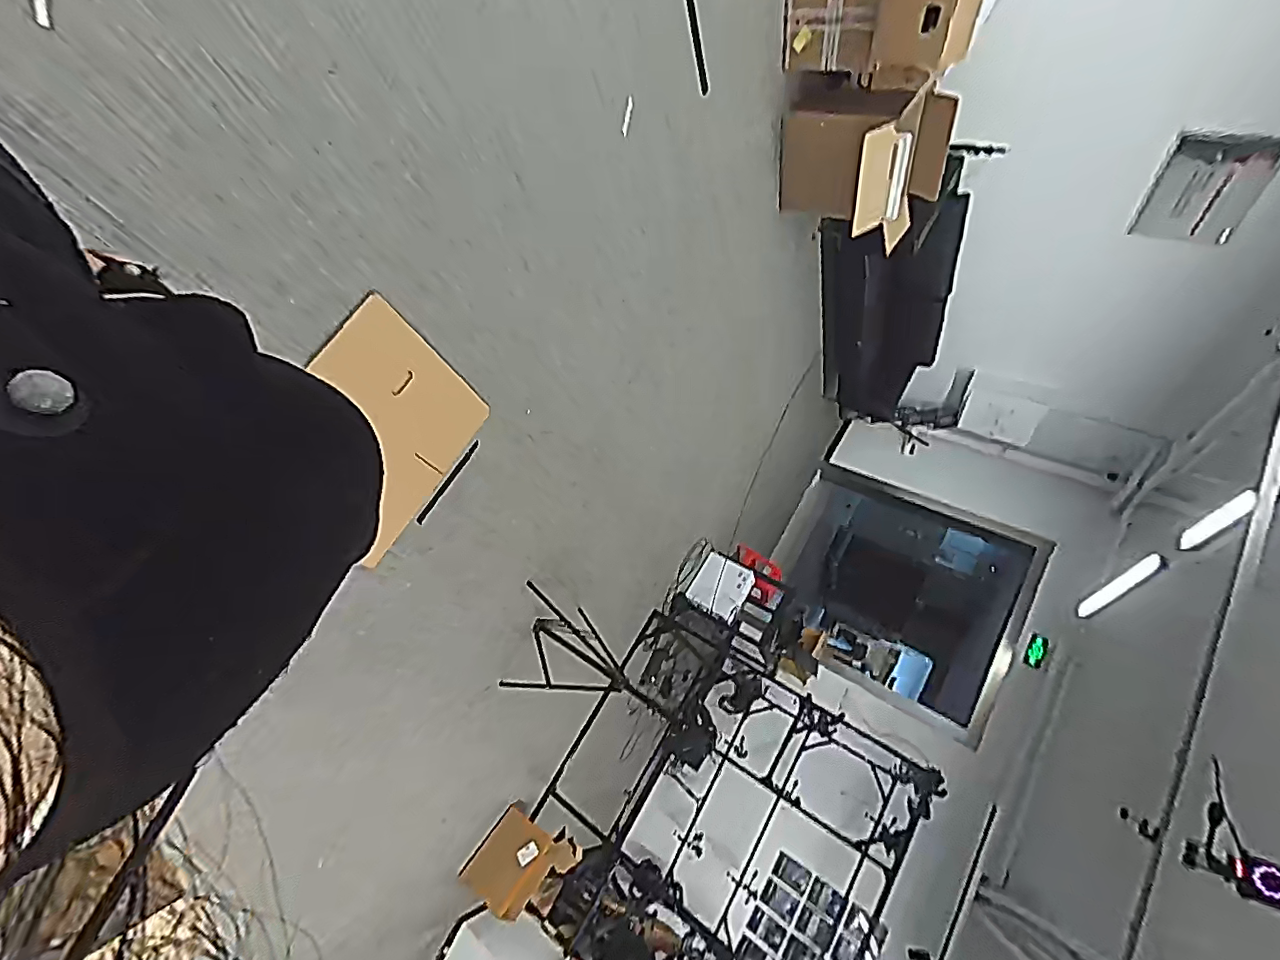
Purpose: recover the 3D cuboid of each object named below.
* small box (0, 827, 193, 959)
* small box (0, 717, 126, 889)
[{"bbox_3d":[-0.814,0.684,0.814,0.179,0.176,0.168,-15,124,-54],"label":"small box"},{"bbox_3d":[-1.077,0.568,0.975,0.179,0.176,0.168,-15,123,-53],"label":"small box"}]
